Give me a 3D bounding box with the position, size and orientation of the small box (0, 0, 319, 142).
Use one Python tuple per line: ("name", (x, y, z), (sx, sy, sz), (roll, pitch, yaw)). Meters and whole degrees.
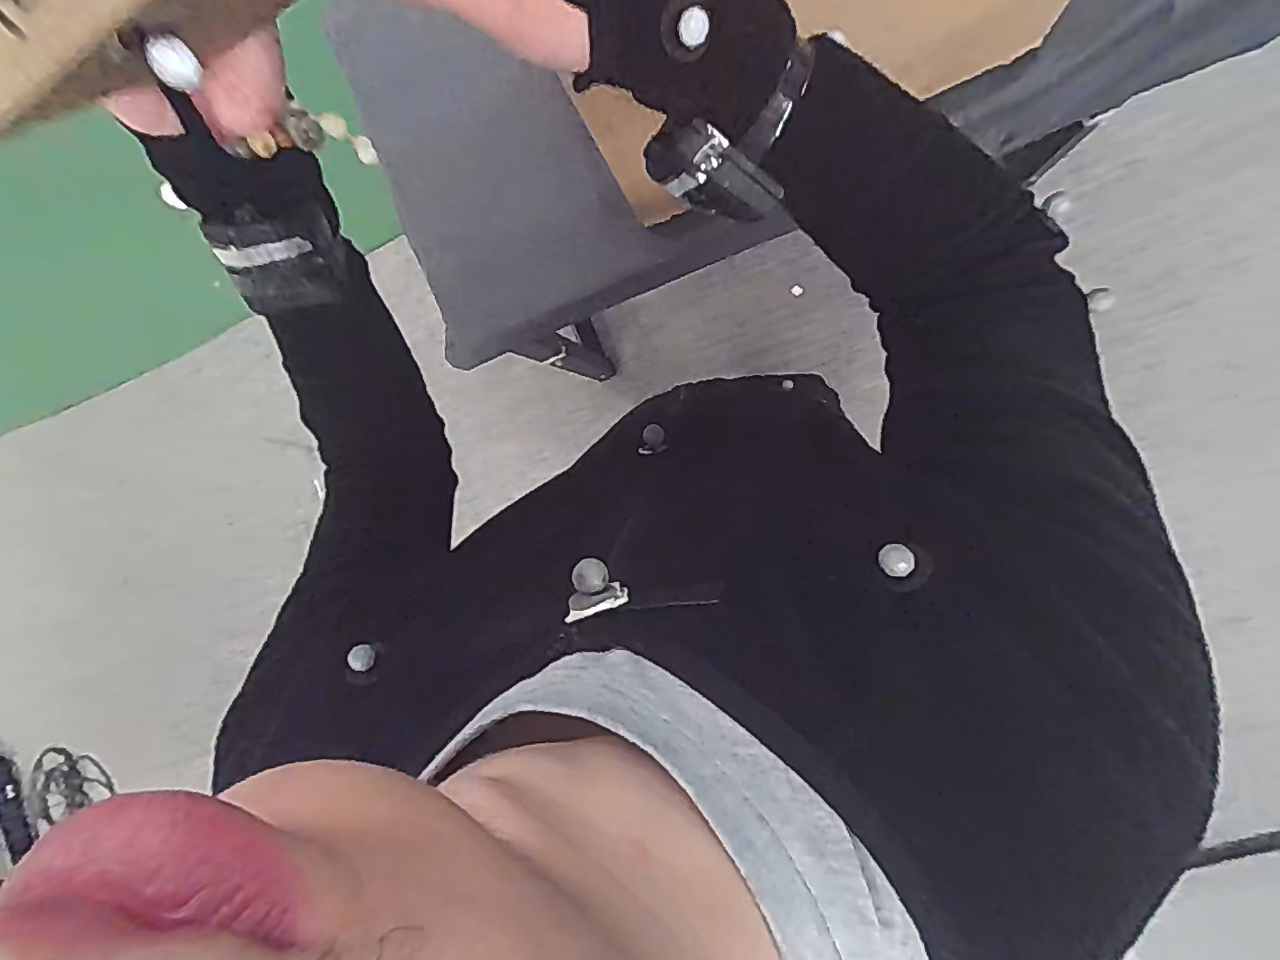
("small box", (-0.167, -0.230, 0.137), (0.168, 0.176, 0.179), (-22, 134, 15))
